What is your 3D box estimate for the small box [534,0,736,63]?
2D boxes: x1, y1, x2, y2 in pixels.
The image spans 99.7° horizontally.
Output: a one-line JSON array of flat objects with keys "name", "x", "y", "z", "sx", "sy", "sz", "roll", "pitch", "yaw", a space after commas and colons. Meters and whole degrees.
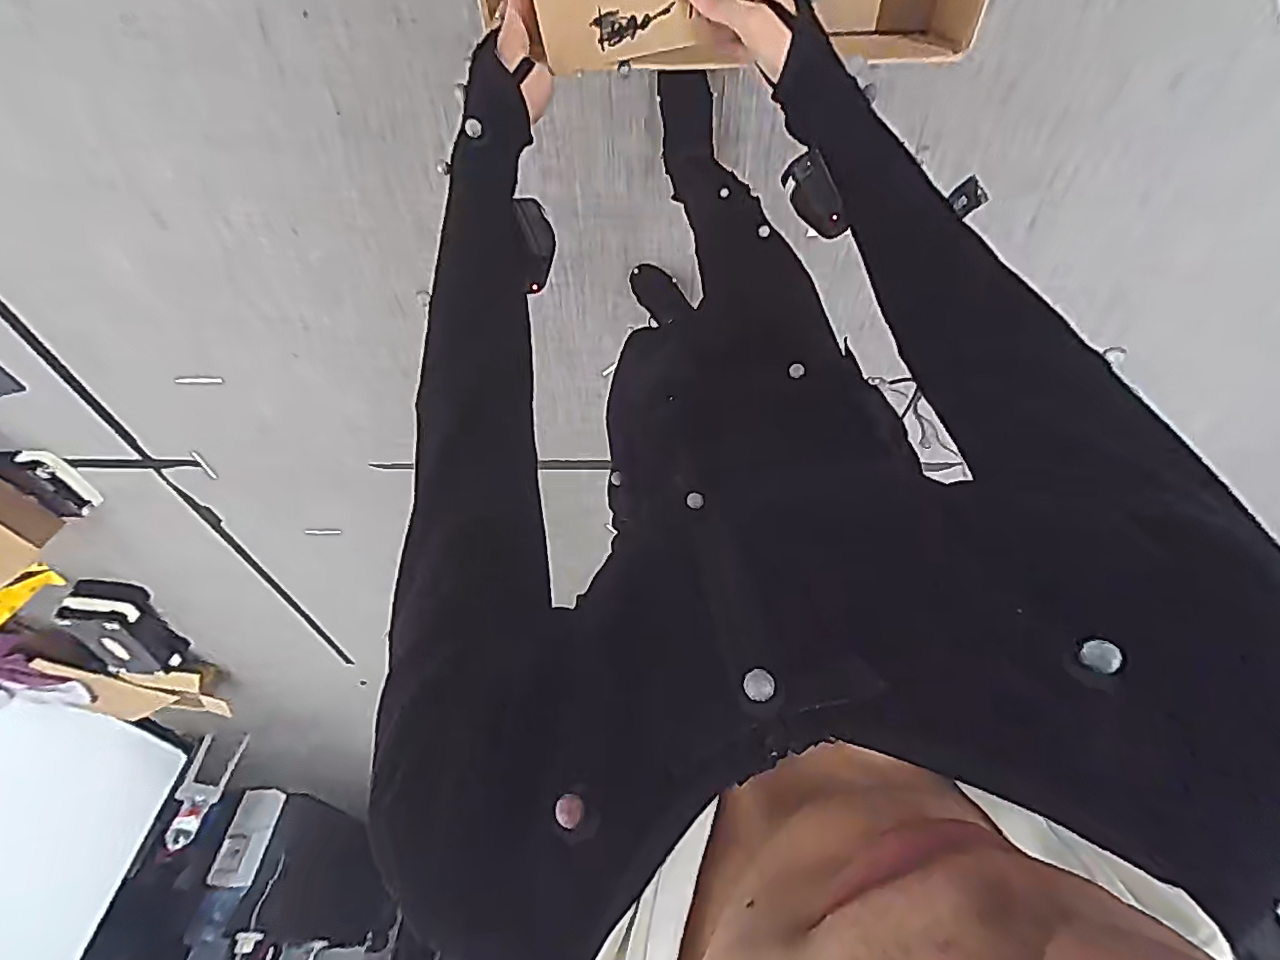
[{"name": "small box", "x": -0.015, "y": -0.482, "z": 0.460, "sx": 0.168, "sy": 0.176, "sz": 0.179, "roll": -8, "pitch": 132, "yaw": 5}]
